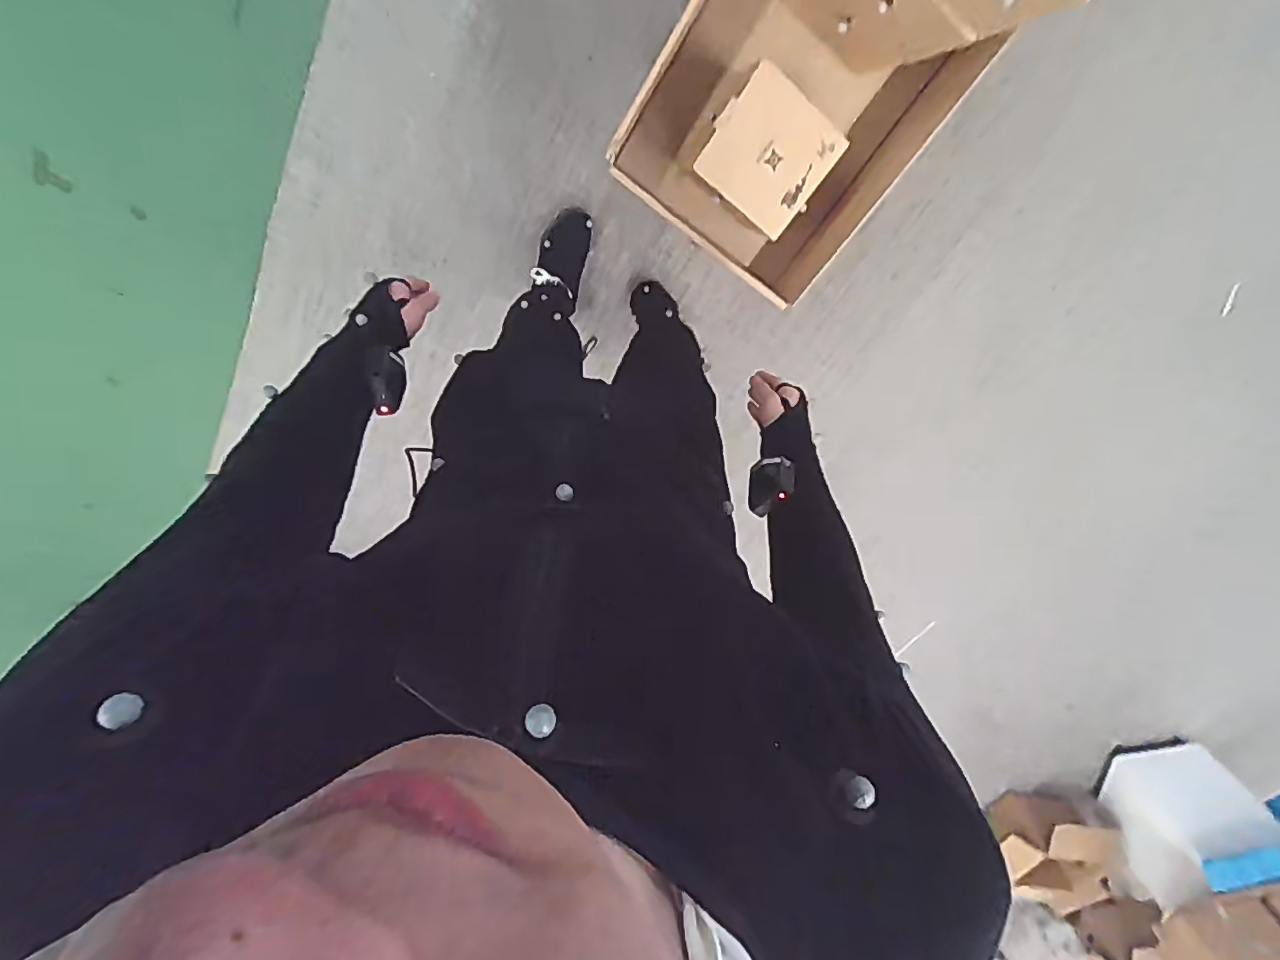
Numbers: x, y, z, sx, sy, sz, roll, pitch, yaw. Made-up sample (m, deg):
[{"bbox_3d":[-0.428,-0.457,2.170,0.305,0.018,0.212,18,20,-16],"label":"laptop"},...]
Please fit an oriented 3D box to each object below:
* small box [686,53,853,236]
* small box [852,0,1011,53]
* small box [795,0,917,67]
[{"bbox_3d":[0.191,-0.518,0.859,0.179,0.176,0.168,32,114,-20],"label":"small box"},{"bbox_3d":[0.349,-0.629,0.614,0.179,0.176,0.168,29,115,-18],"label":"small box"},{"bbox_3d":[0.345,-0.717,0.753,0.179,0.176,0.168,30,115,-19],"label":"small box"}]
